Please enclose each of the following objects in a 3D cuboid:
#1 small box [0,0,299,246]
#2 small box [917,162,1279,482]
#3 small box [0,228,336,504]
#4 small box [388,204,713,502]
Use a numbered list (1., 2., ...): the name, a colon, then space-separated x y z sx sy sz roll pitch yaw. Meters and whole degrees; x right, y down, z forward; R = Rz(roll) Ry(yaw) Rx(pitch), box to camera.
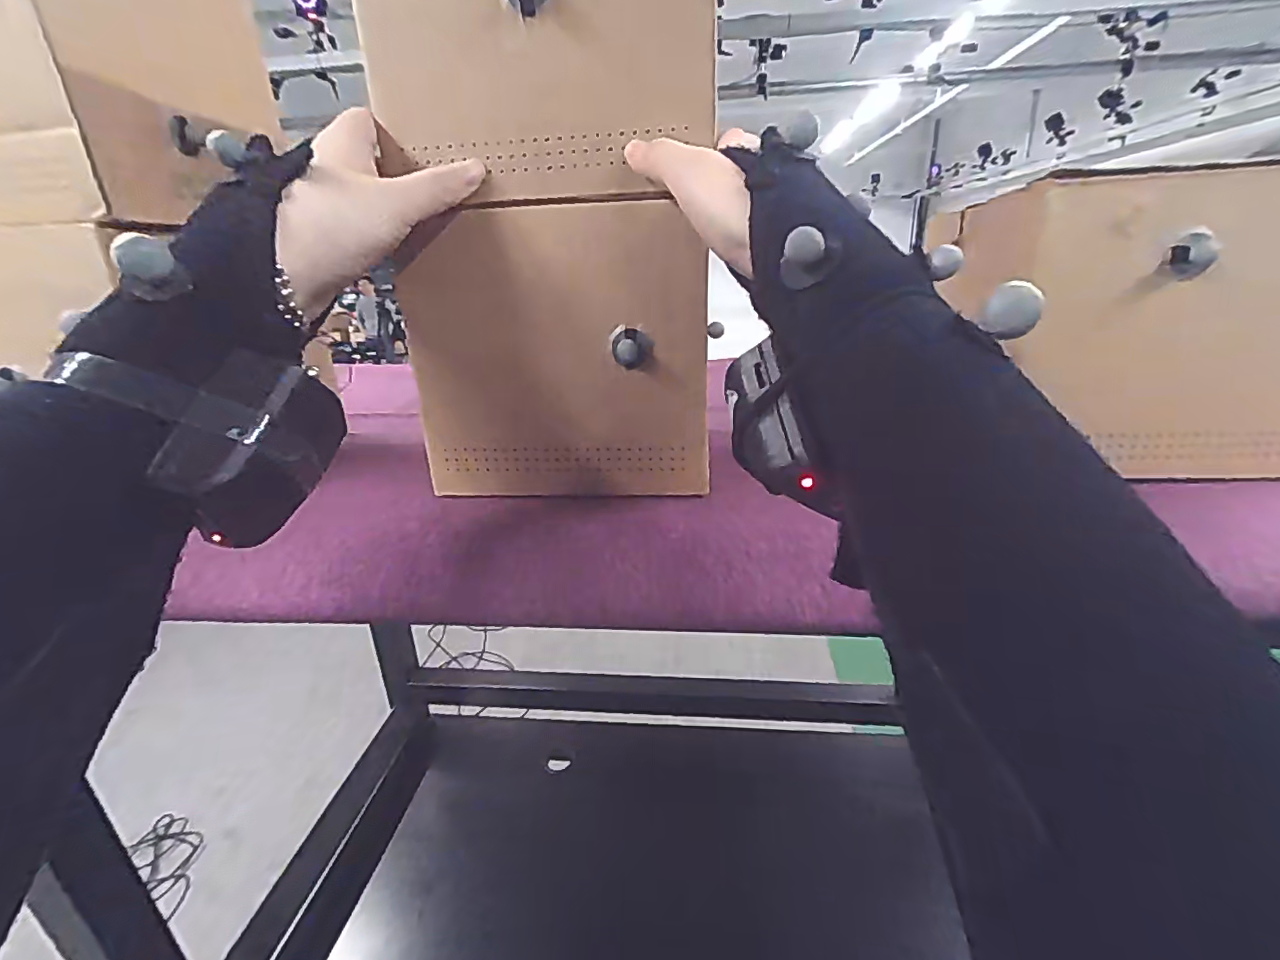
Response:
1. small box: -0.365 -0.240 0.345 0.179 0.176 0.168 0 22 3
2. small box: 0.307 -0.100 0.370 0.179 0.176 0.168 0 19 7
3. small box: -0.362 -0.089 0.404 0.168 0.176 0.179 1 22 4
4. small box: -0.041 -0.089 0.384 0.179 0.176 0.168 -1 19 5
